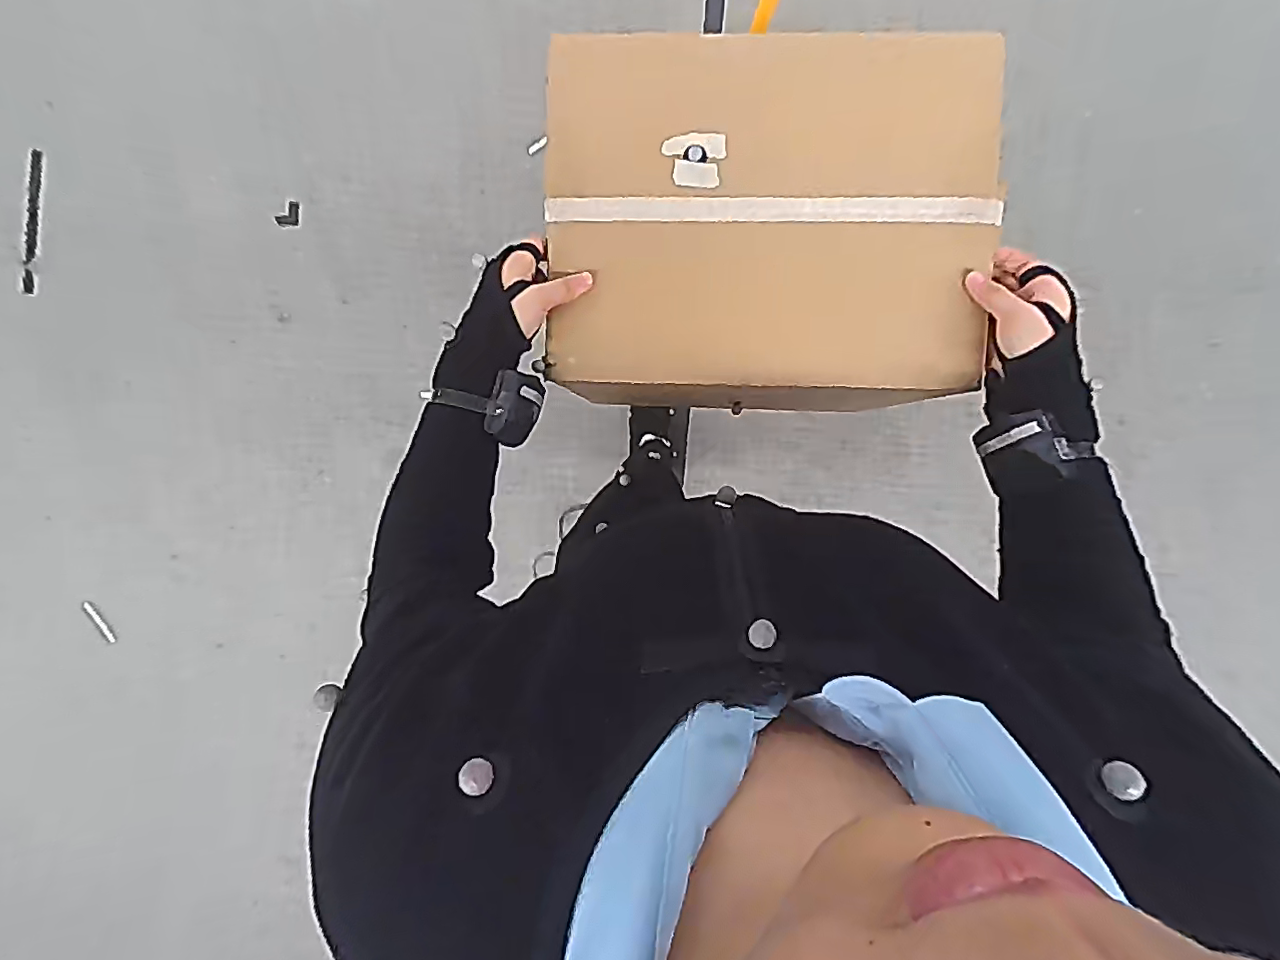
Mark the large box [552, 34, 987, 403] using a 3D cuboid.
[{"bbox_3d":[0.125,-0.258,0.654,0.408,0.320,0.320,1,92,4],"label":"large box"}]
